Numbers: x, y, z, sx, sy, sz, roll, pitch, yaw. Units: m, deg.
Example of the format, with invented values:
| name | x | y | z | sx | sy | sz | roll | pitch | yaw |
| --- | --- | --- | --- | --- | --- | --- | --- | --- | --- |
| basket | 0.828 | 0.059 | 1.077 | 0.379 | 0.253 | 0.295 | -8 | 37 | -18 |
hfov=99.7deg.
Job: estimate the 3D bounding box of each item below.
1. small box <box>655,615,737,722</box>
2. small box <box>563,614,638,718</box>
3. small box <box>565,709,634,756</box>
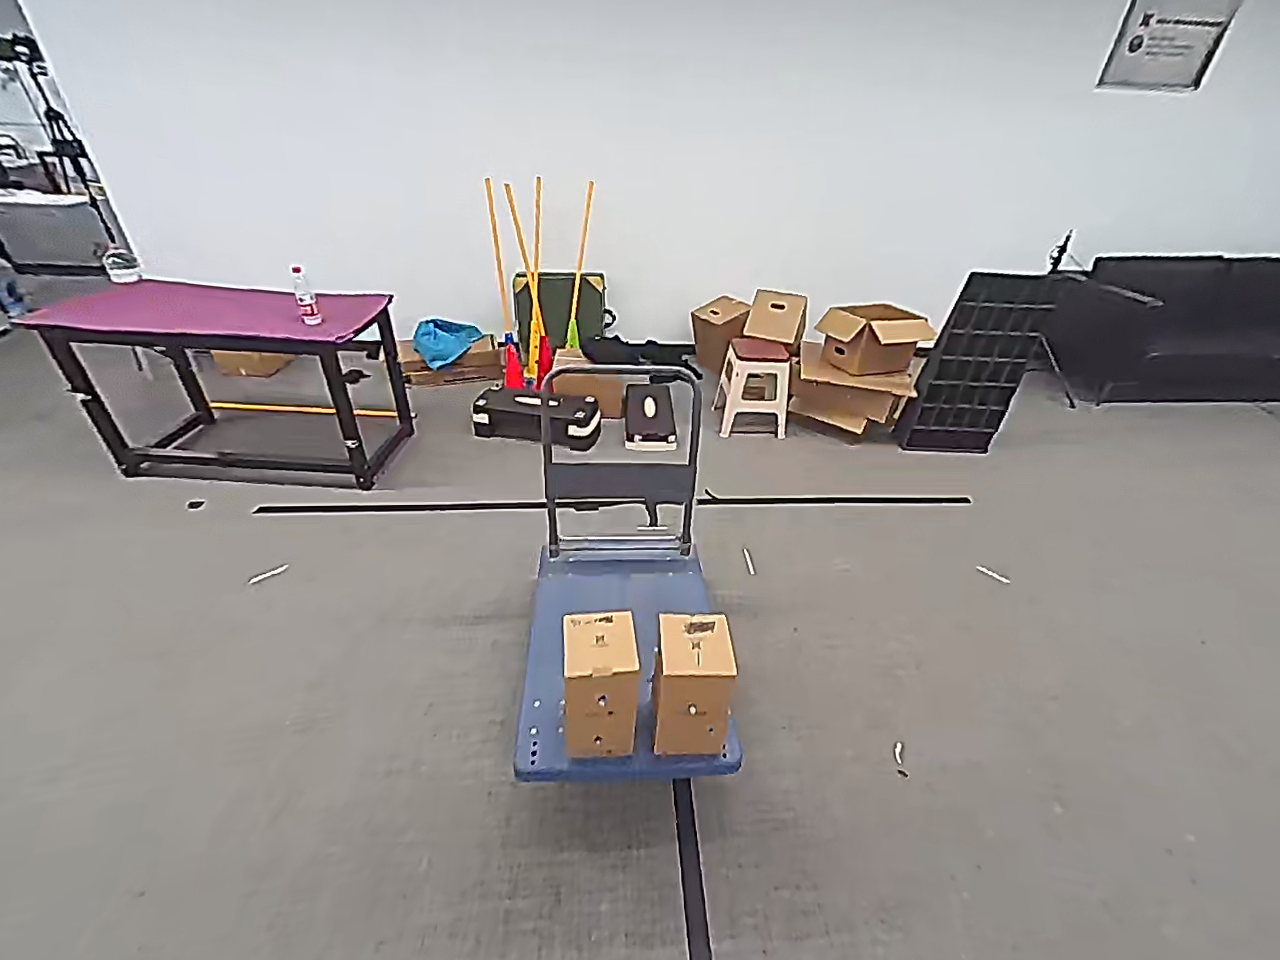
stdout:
| name | x | y | z | sx | sy | sz | roll | pitch | yaw |
| --- | --- | --- | --- | --- | --- | --- | --- | --- | --- |
| small box | 0.125 | 0.448 | 1.293 | 0.168 | 0.176 | 0.179 | 3 | 34 | -3 |
| small box | -0.095 | 0.444 | 1.281 | 0.168 | 0.176 | 0.179 | -1 | 34 | -7 |
| small box | -0.102 | 0.580 | 1.373 | 0.168 | 0.176 | 0.179 | 1 | 33 | -6 |
